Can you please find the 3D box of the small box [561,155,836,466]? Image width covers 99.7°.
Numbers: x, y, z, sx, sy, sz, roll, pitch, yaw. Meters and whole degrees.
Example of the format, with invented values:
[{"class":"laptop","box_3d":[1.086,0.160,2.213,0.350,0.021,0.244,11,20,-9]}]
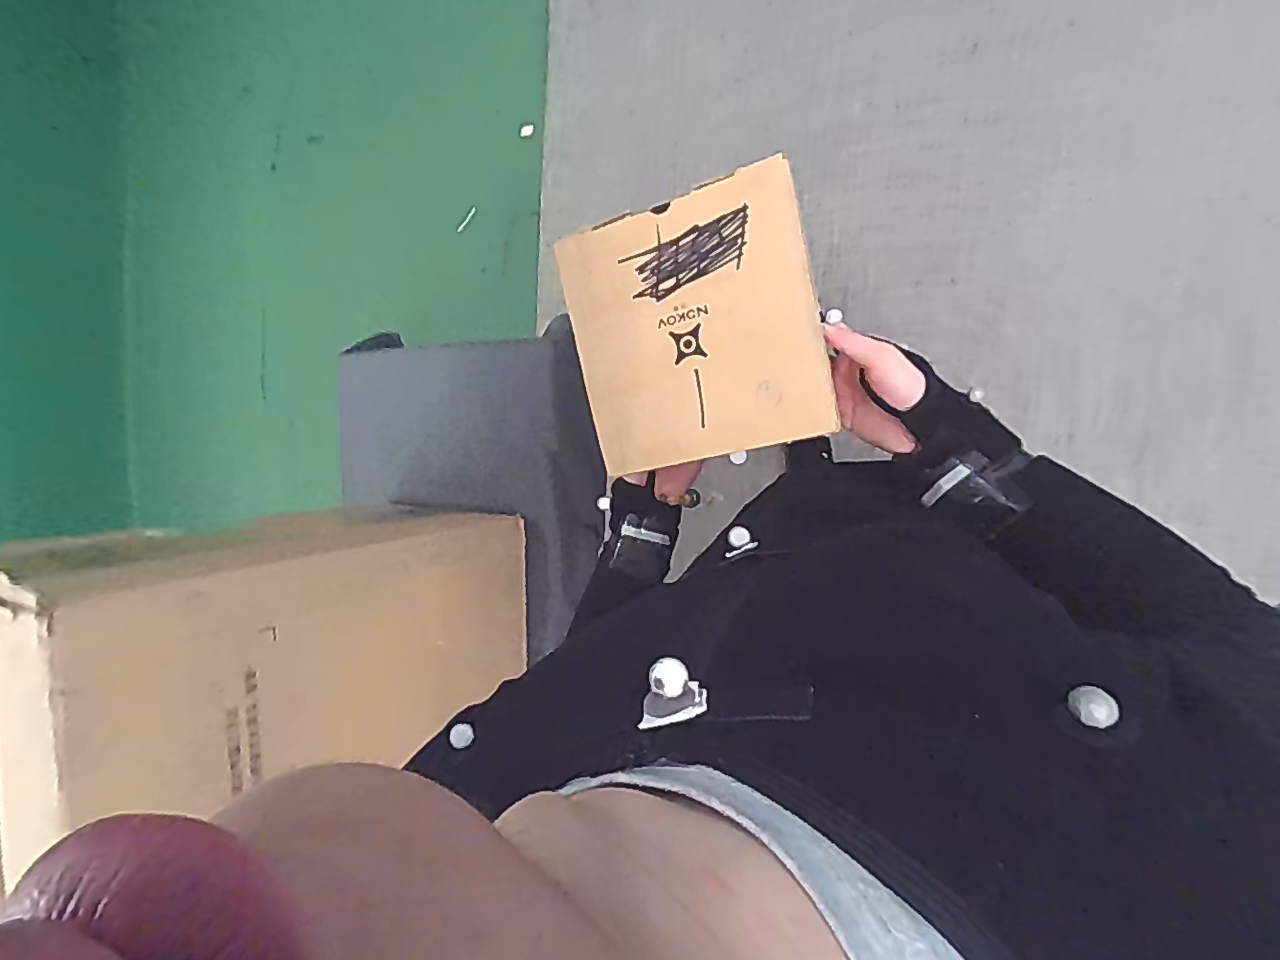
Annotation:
[{"class":"small box","box_3d":[0.060,-0.118,0.442,0.168,0.176,0.179,-10,96,21]}]
